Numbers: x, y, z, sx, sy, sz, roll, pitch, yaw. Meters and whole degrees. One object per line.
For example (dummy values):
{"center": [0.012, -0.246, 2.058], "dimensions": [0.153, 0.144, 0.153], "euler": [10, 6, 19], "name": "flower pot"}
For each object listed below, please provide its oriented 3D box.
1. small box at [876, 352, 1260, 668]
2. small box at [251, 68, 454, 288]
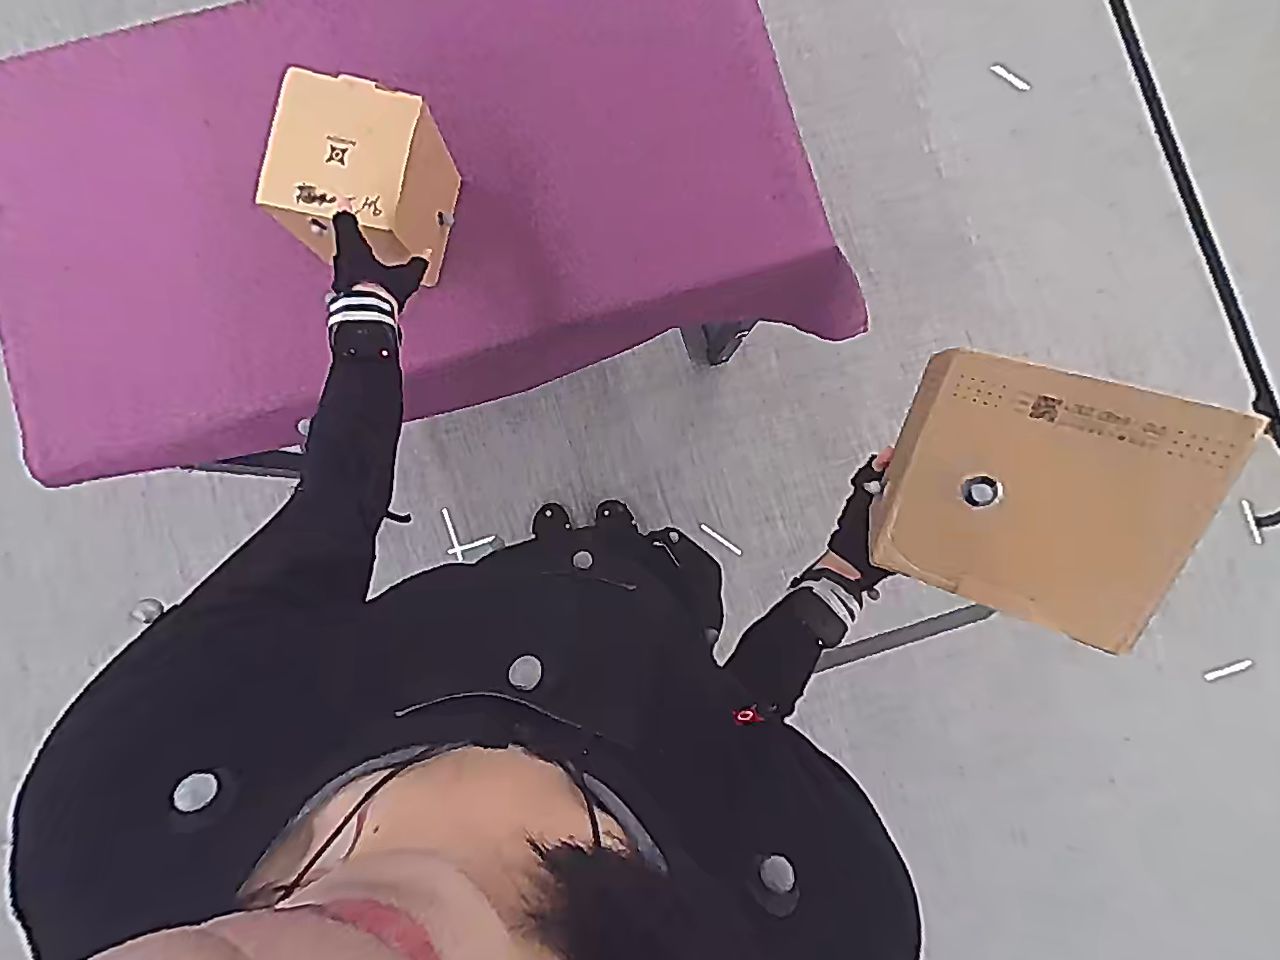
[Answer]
{"center": [0.298, 0.003, 0.418], "dimensions": [0.168, 0.179, 0.176], "euler": [22, 108, 18], "name": "small box"}
{"center": [-0.363, -0.386, 0.721], "dimensions": [0.168, 0.176, 0.179], "euler": [12, 85, -2], "name": "small box"}
